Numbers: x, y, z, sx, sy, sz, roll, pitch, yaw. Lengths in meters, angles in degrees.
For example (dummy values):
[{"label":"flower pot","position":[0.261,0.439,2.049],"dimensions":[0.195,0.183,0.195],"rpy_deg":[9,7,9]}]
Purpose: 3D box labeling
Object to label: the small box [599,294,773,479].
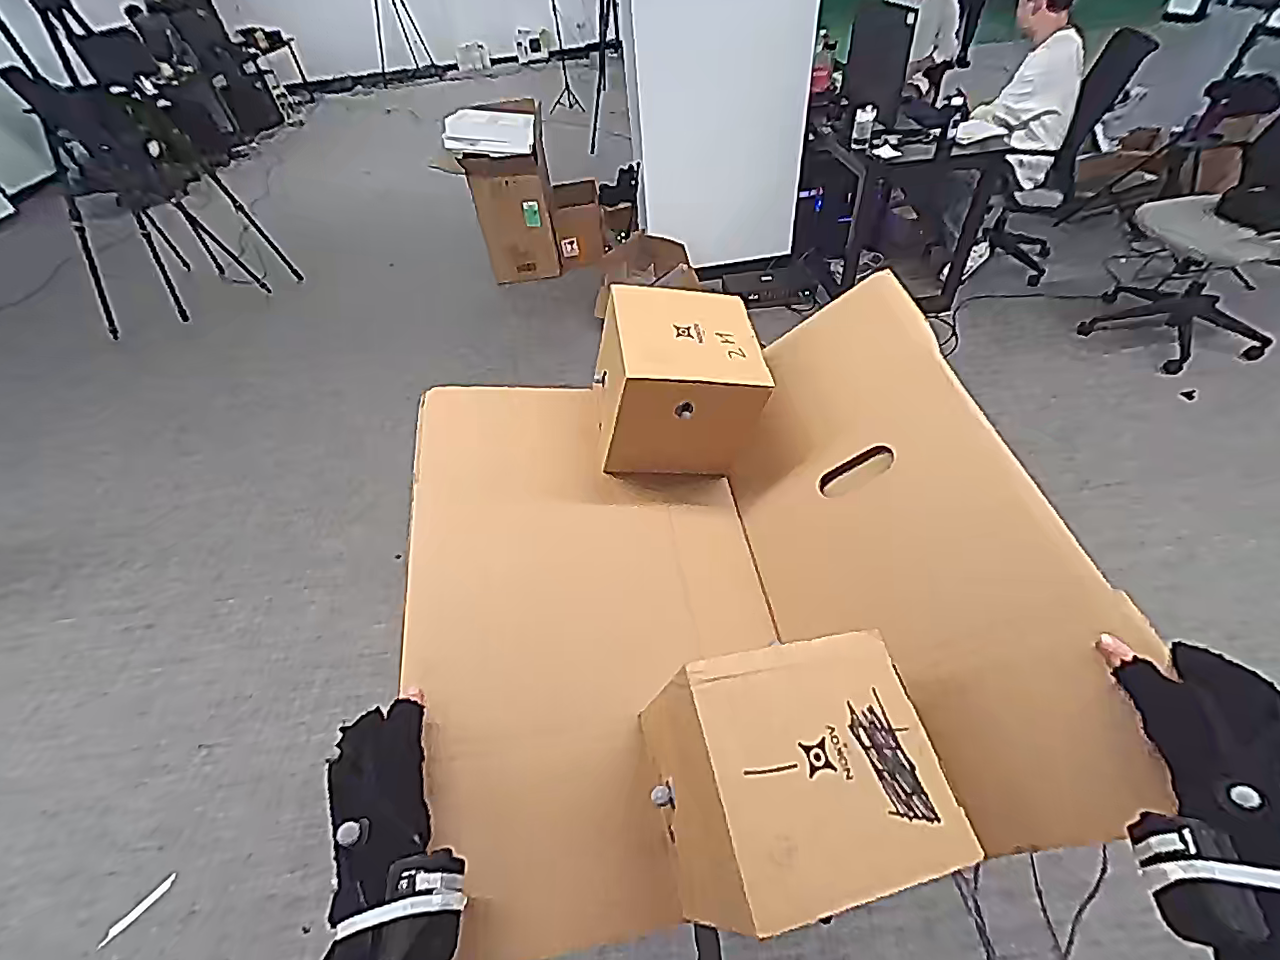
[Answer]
[{"label":"small box","position":[0.043,-0.114,0.699],"dimensions":[0.179,0.176,0.168],"rpy_deg":[2,54,-13]}]
